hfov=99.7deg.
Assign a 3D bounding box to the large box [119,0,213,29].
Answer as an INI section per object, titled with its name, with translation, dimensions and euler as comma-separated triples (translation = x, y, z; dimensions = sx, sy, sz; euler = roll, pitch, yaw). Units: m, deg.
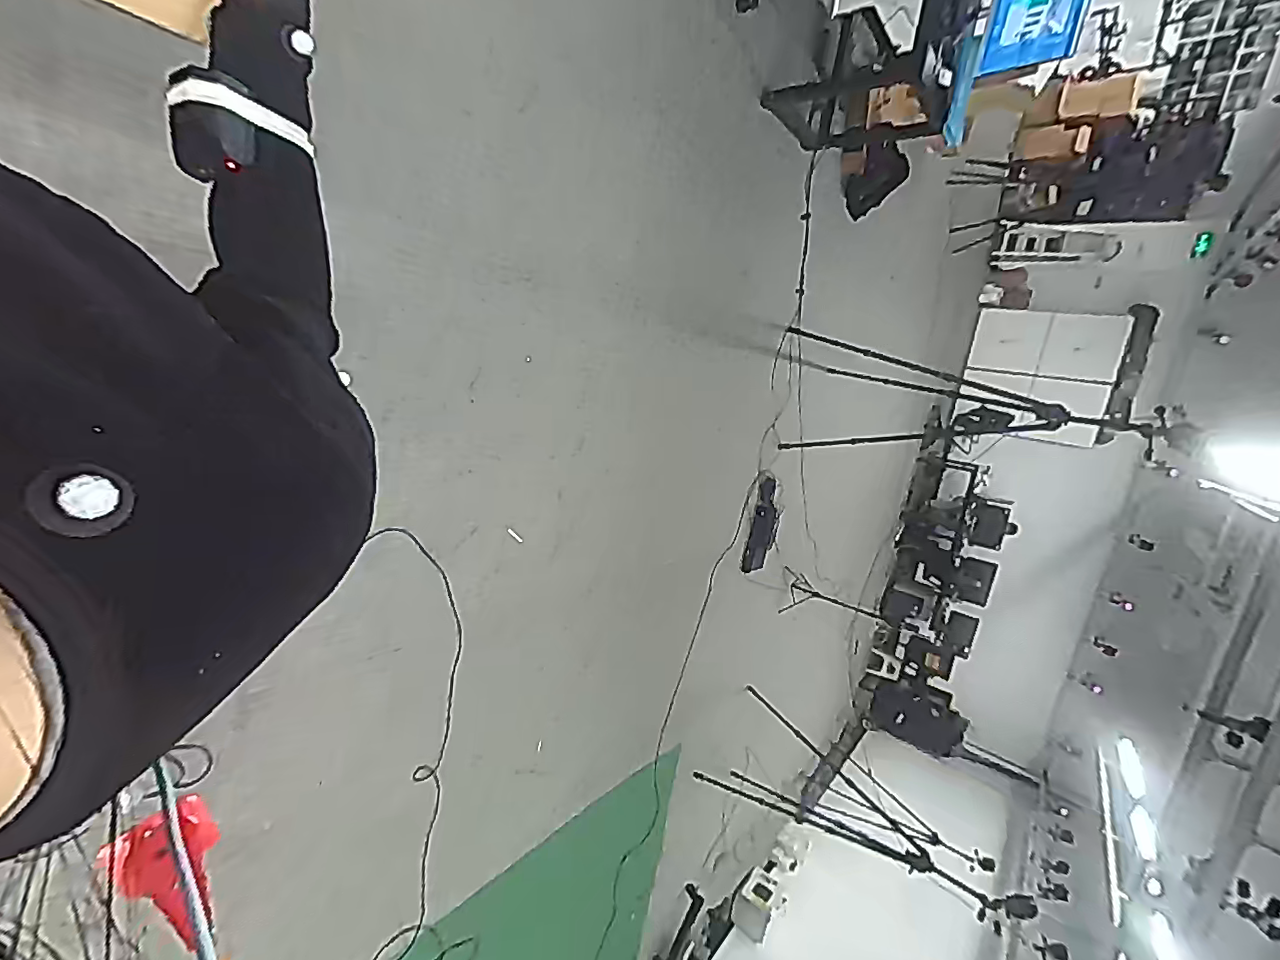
[large box]
translation = -0.491, -0.517, 0.252
dimensions = 0.408, 0.320, 0.320
euler = -15, 133, -57
